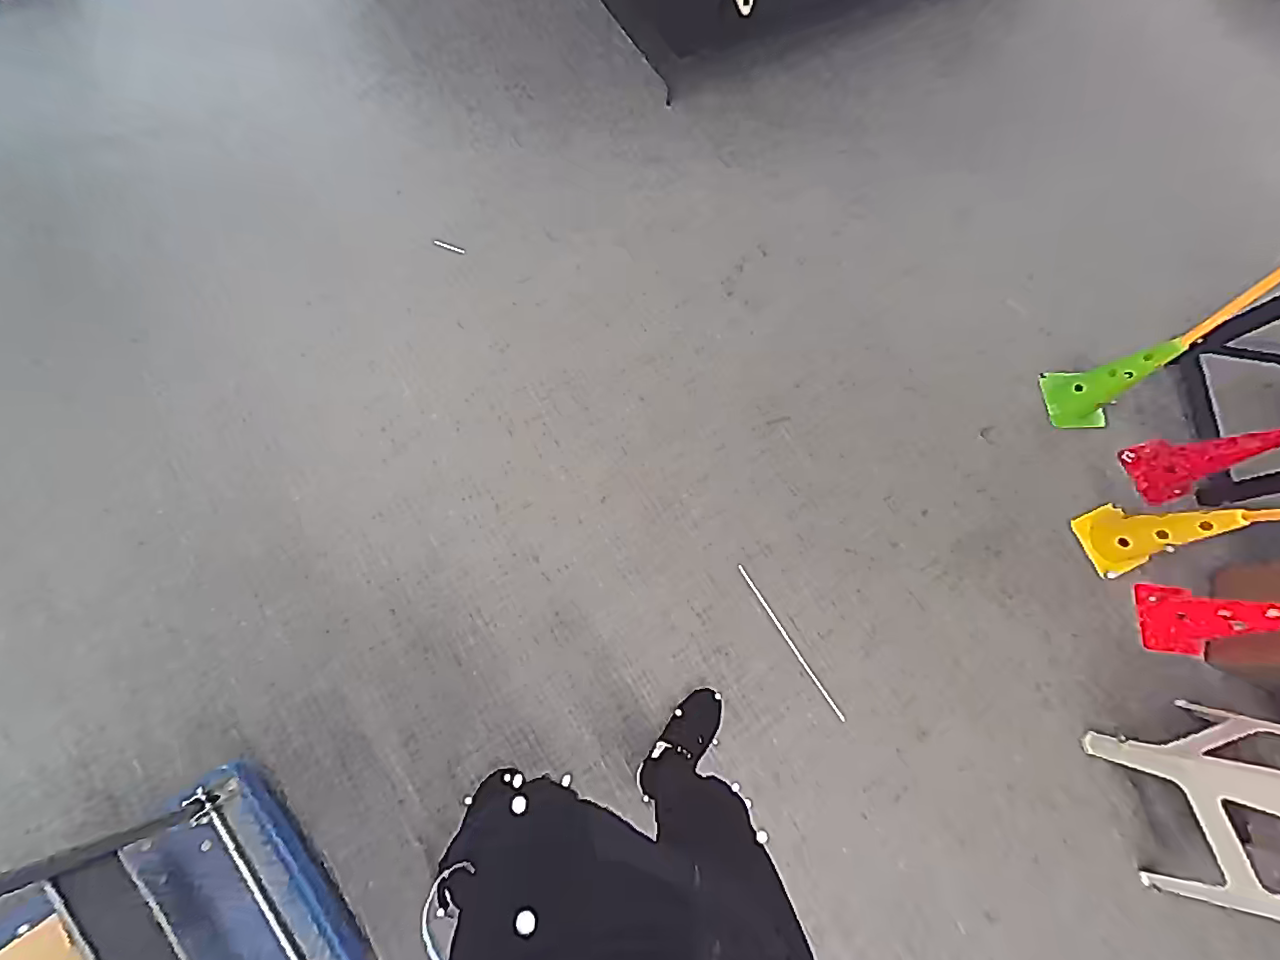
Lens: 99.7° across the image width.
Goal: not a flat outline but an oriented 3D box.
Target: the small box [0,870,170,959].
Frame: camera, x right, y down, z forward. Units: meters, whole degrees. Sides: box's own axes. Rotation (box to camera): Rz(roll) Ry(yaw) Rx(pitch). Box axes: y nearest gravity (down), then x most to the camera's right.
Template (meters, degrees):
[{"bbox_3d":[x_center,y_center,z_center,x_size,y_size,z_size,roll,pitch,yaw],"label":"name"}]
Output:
[{"bbox_3d":[-0.961,0.811,0.905,0.179,0.176,0.168,-33,80,-17],"label":"small box"}]
